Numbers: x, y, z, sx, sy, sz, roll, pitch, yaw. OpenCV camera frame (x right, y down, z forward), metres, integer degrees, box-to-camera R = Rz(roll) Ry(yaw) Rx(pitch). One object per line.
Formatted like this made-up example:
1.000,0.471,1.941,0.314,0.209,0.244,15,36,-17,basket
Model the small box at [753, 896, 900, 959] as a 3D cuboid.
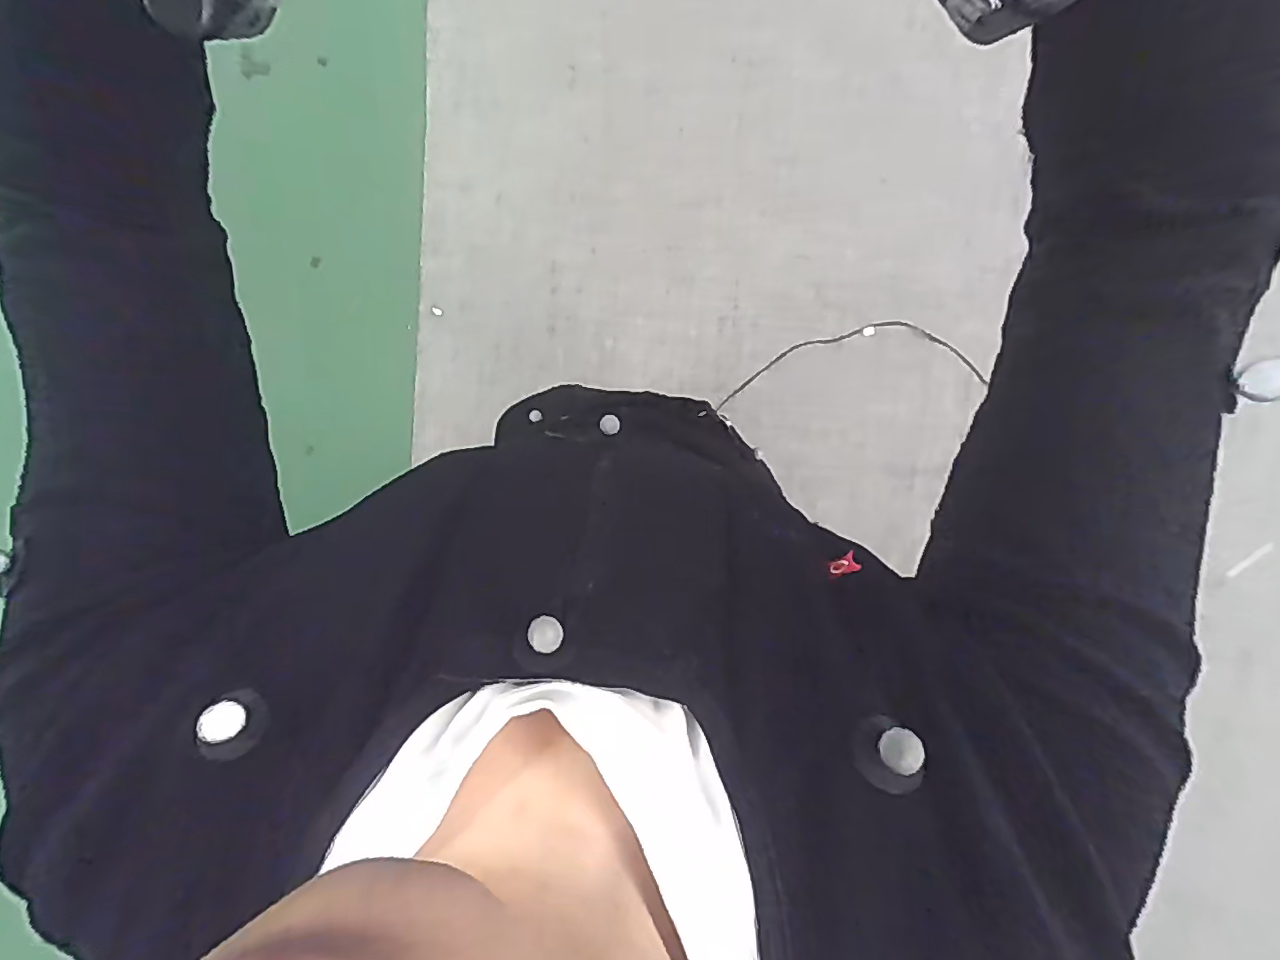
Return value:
0.249,0.684,0.700,0.179,0.176,0.168,1,95,3,small box
